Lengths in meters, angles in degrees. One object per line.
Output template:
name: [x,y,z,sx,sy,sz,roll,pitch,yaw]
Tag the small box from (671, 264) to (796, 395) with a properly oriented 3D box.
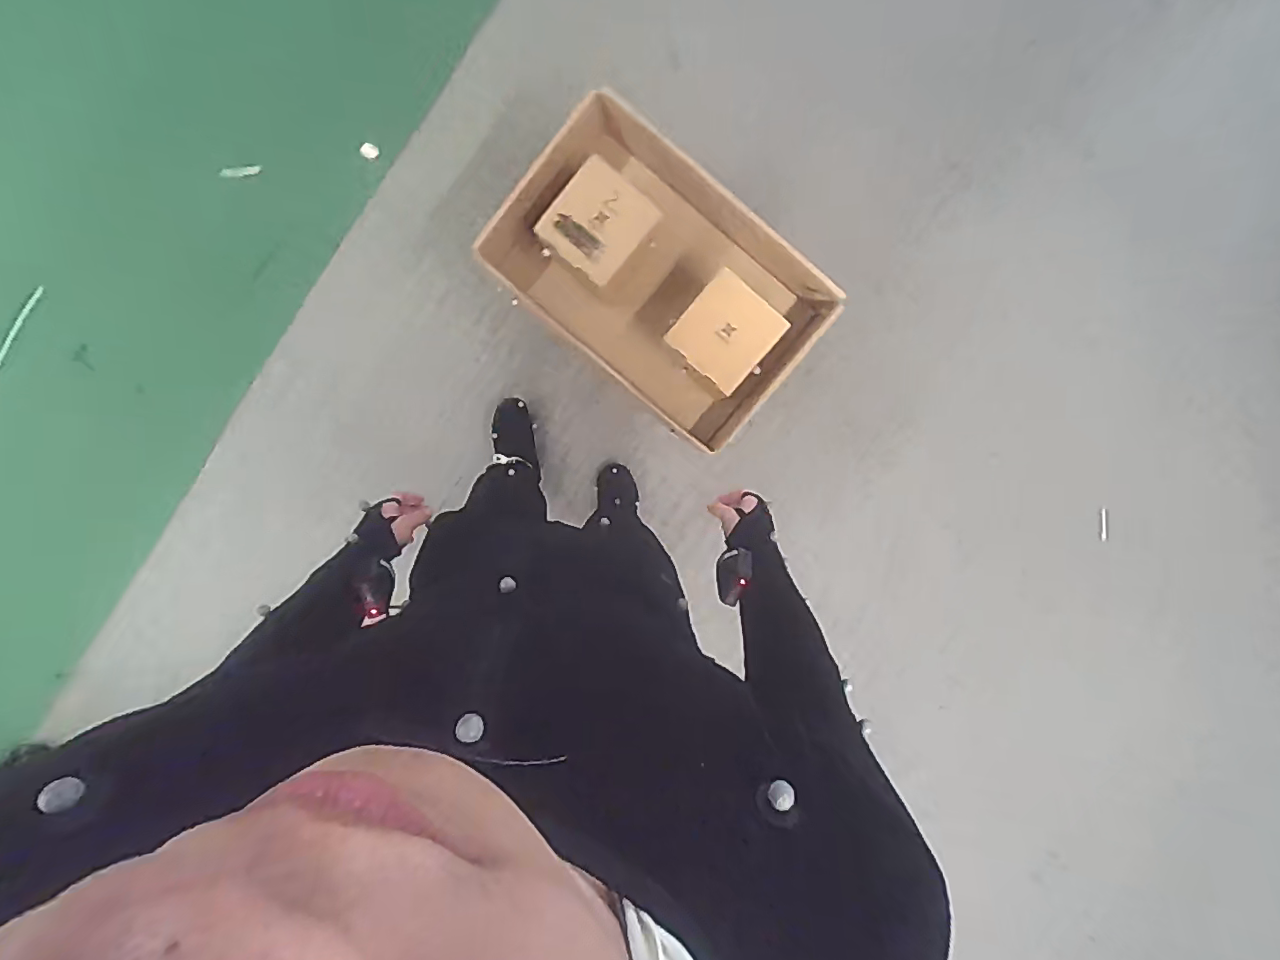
small box: [0.172,-0.286,1.070,0.168,0.176,0.179,40,97,-3]
